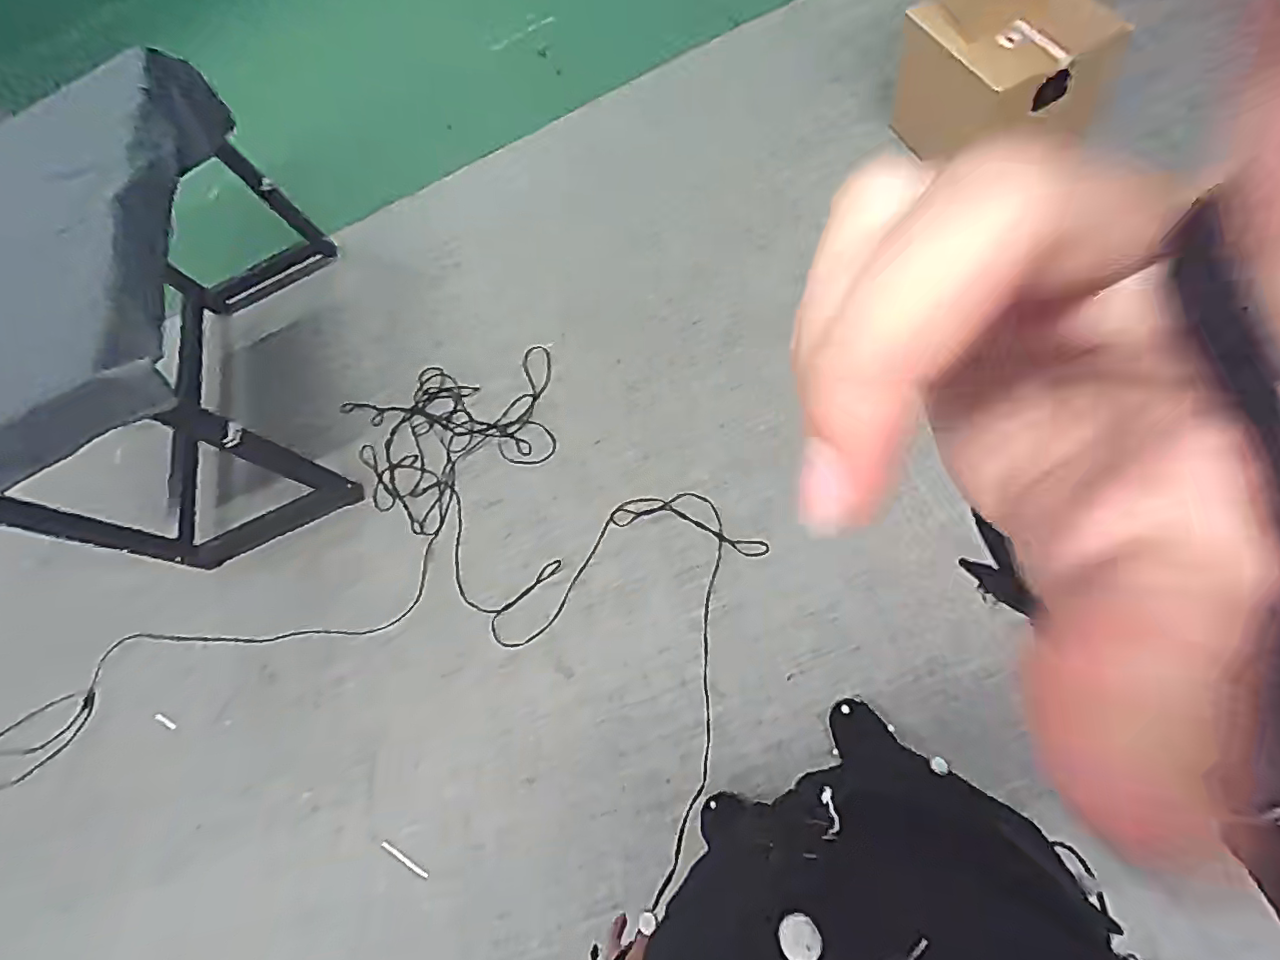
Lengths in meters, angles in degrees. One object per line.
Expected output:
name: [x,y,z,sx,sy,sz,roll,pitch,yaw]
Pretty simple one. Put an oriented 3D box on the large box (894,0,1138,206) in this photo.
large box: [0.947,-1.034,1.437,0.320,0.320,0.408,-24,65,6]
